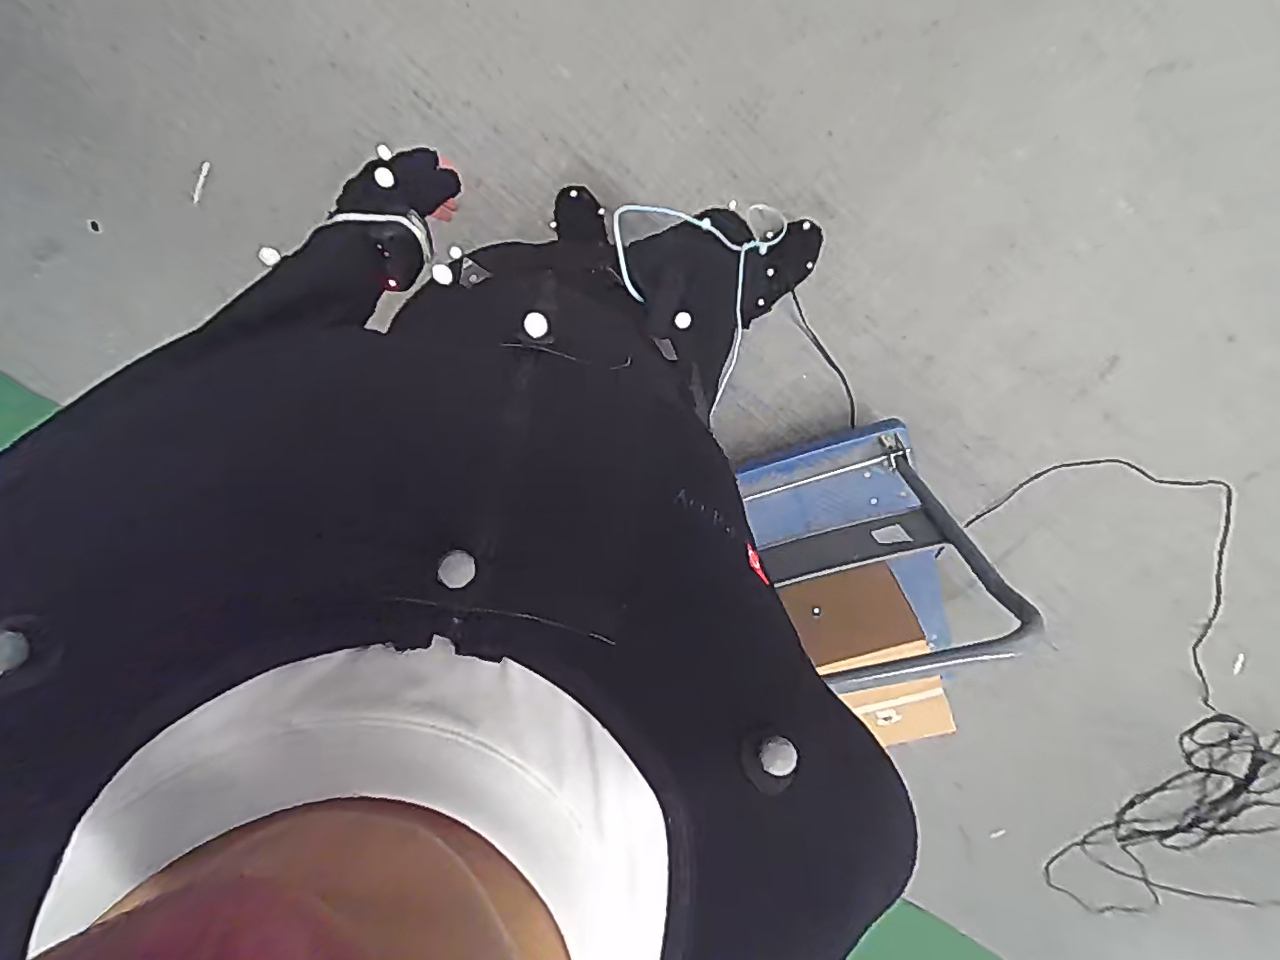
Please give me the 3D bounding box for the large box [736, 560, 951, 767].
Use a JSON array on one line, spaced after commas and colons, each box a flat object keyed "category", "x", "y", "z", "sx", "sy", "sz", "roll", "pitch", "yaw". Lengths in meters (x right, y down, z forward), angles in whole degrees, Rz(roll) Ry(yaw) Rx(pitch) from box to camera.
[{"category": "large box", "x": 0.502, "y": 0.468, "z": 1.400, "sx": 0.408, "sy": 0.320, "sz": 0.320, "roll": -22, "pitch": 114, "yaw": 14}]
